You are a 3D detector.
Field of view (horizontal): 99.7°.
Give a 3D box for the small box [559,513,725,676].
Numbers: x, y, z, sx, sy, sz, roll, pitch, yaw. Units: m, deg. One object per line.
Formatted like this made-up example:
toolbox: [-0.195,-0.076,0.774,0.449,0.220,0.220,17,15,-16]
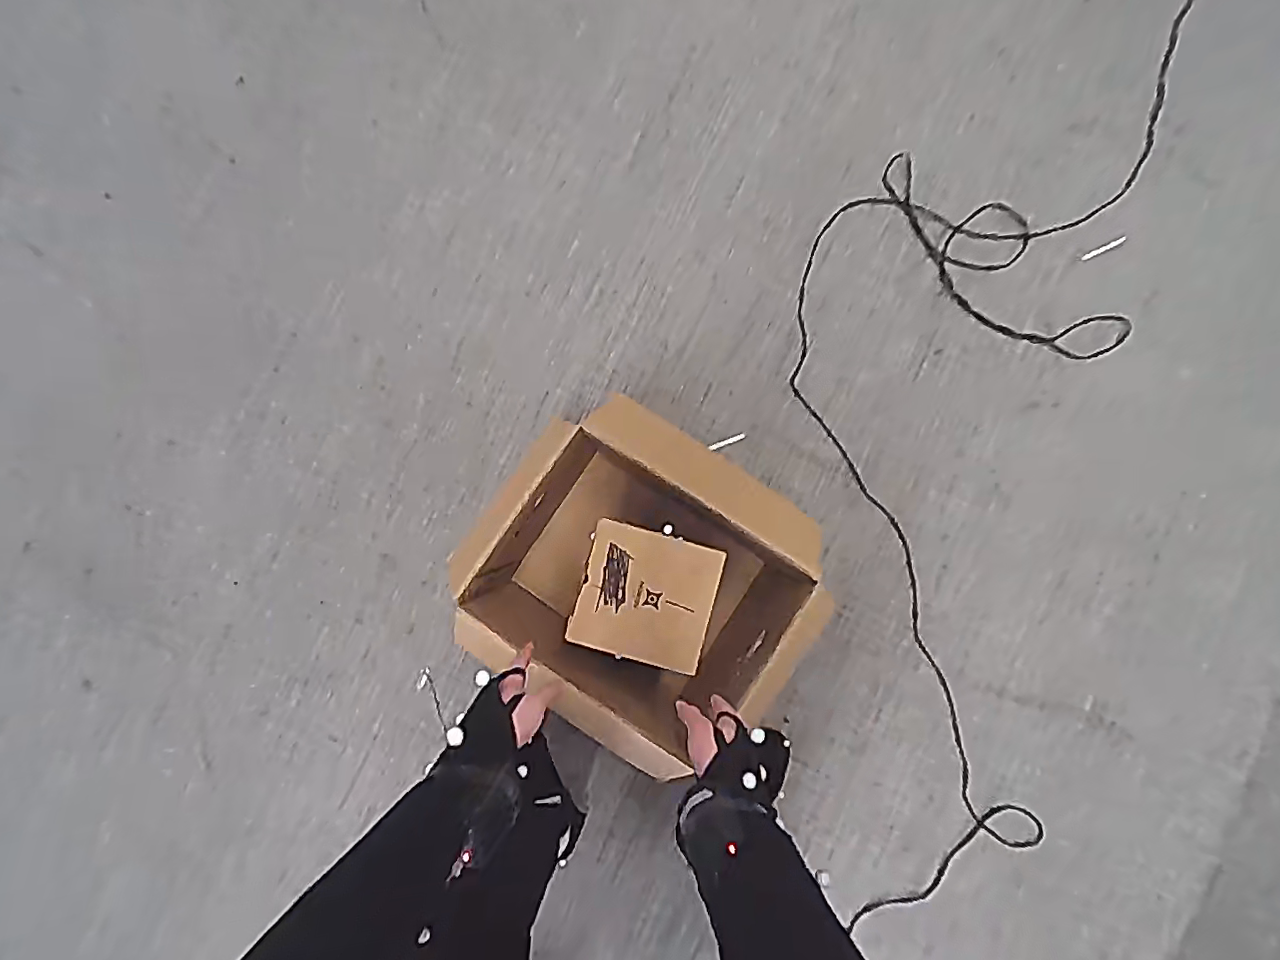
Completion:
small box: [0.004,0.153,0.777,0.179,0.176,0.168,19,88,2]
